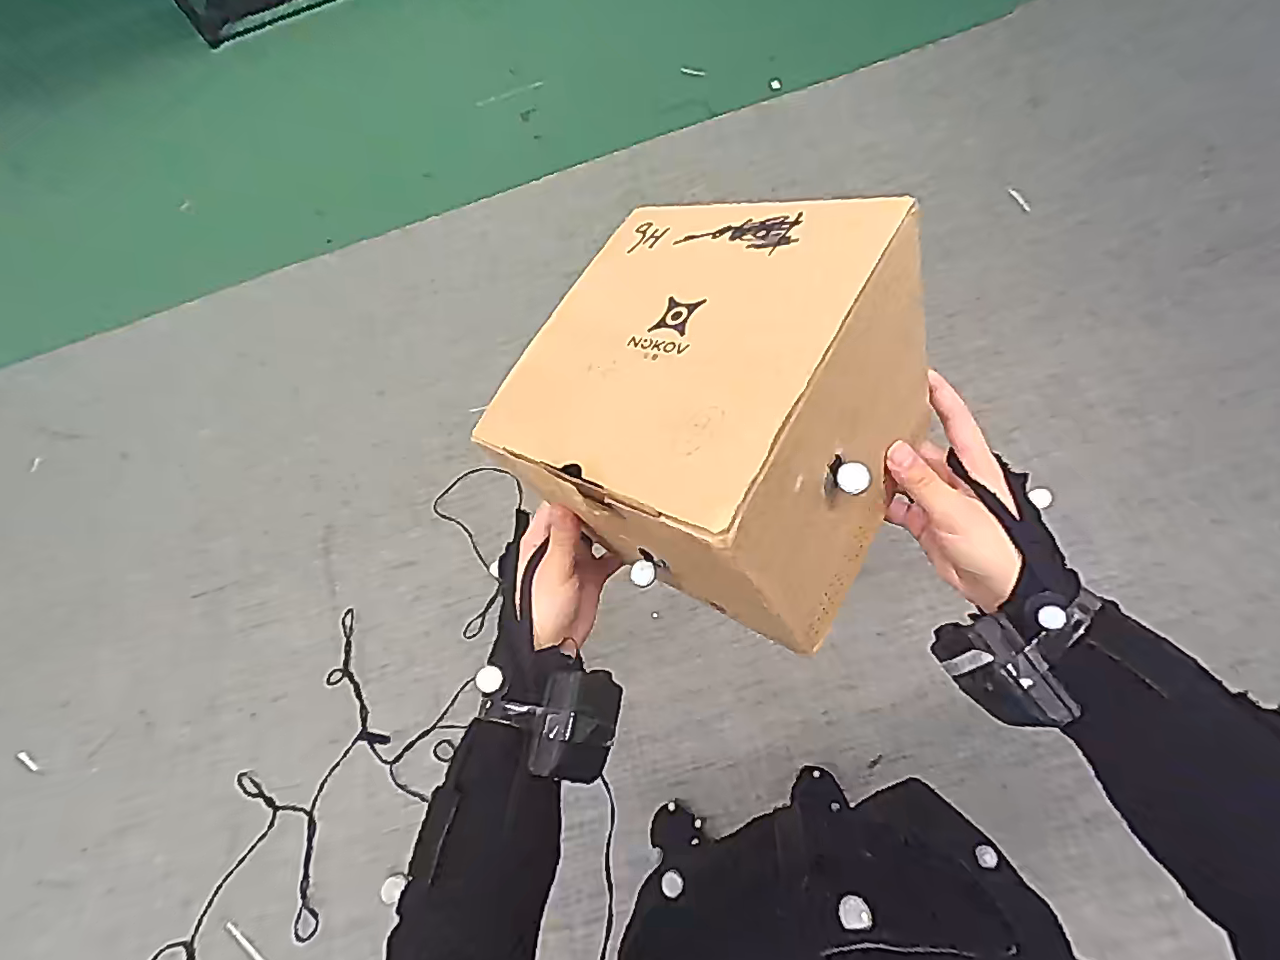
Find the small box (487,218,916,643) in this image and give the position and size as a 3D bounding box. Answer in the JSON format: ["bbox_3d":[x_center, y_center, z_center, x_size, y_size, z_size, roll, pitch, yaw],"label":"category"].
[{"bbox_3d":[0.052,-0.027,0.328,0.168,0.176,0.179,21,74,37],"label":"small box"}]
